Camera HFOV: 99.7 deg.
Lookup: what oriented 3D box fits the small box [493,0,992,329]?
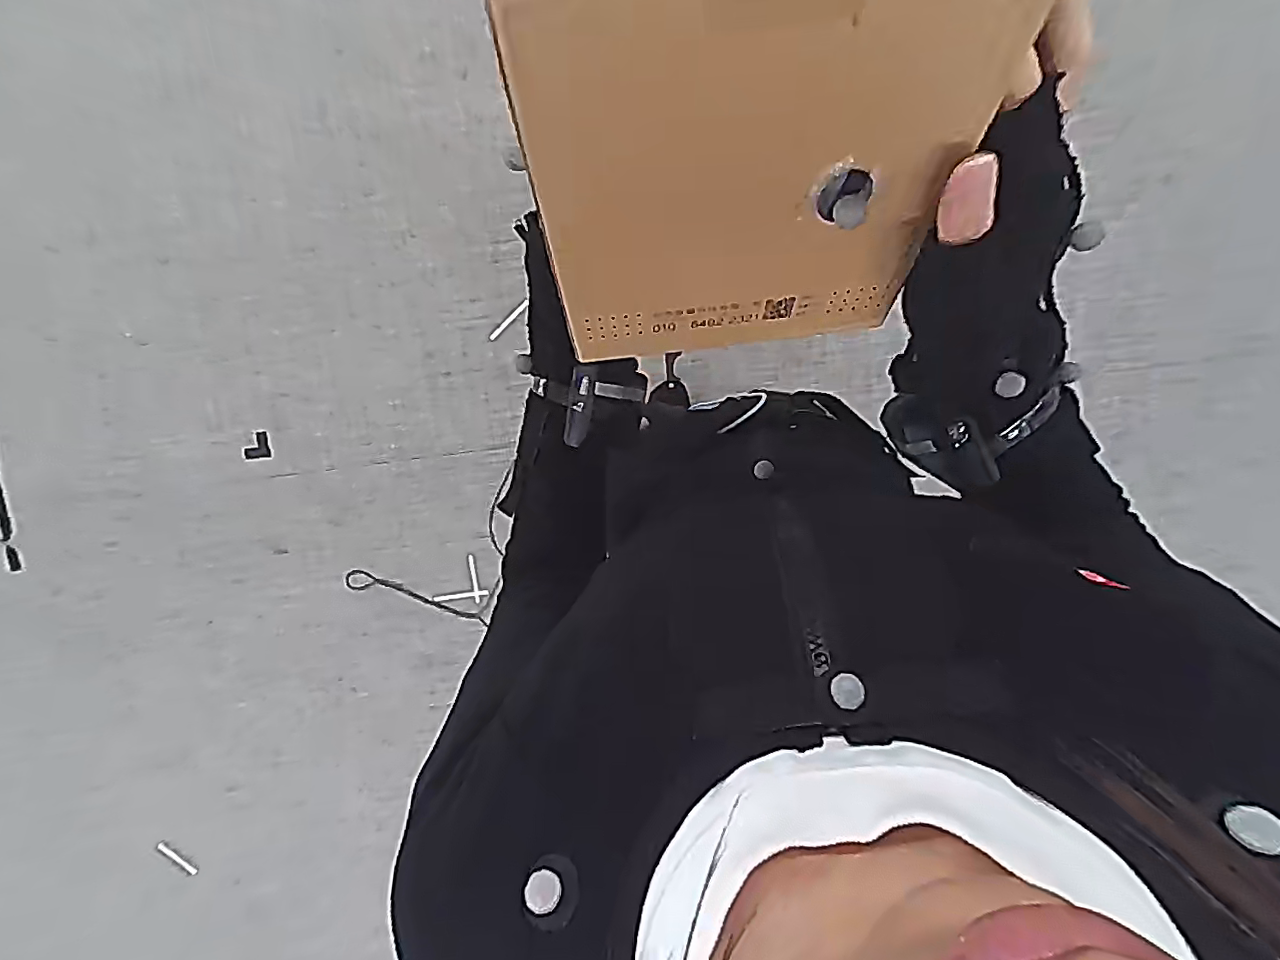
[{"bbox_3d":[0.036,-0.192,0.267,0.168,0.176,0.179,-6,65,2],"label":"small box"}]
